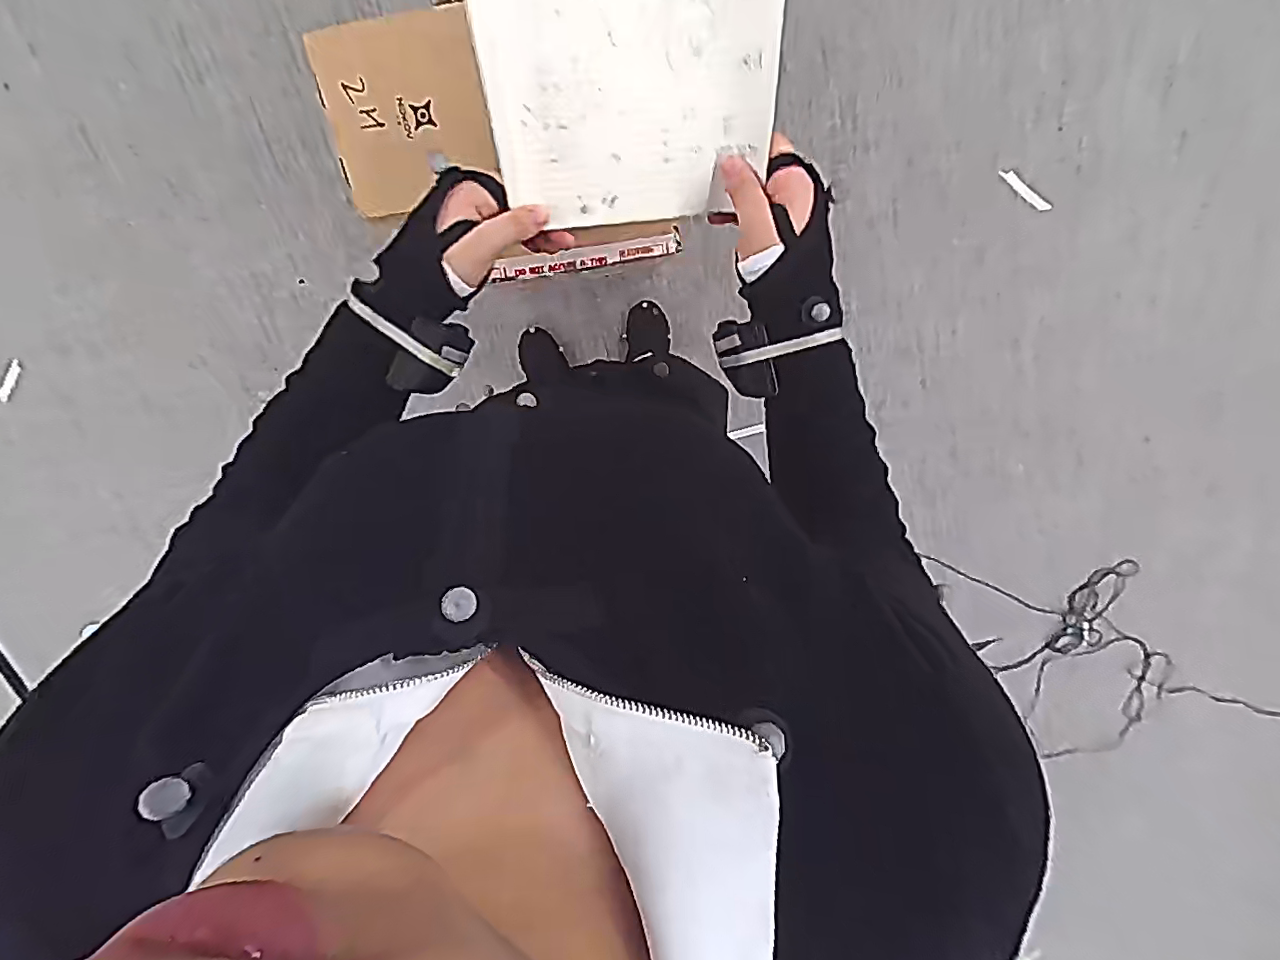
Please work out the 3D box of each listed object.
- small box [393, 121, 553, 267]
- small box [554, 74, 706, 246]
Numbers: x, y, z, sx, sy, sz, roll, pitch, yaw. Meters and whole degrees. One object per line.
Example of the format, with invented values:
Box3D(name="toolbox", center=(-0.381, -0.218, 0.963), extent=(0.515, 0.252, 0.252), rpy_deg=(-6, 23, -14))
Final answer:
Box3D(name="small box", center=(-0.228, -0.408, 0.795), extent=(0.179, 0.176, 0.168), rpy_deg=(-4, 111, 2))
Box3D(name="small box", center=(-0.015, -0.450, 0.788), extent=(0.179, 0.176, 0.168), rpy_deg=(-13, 110, 2))
